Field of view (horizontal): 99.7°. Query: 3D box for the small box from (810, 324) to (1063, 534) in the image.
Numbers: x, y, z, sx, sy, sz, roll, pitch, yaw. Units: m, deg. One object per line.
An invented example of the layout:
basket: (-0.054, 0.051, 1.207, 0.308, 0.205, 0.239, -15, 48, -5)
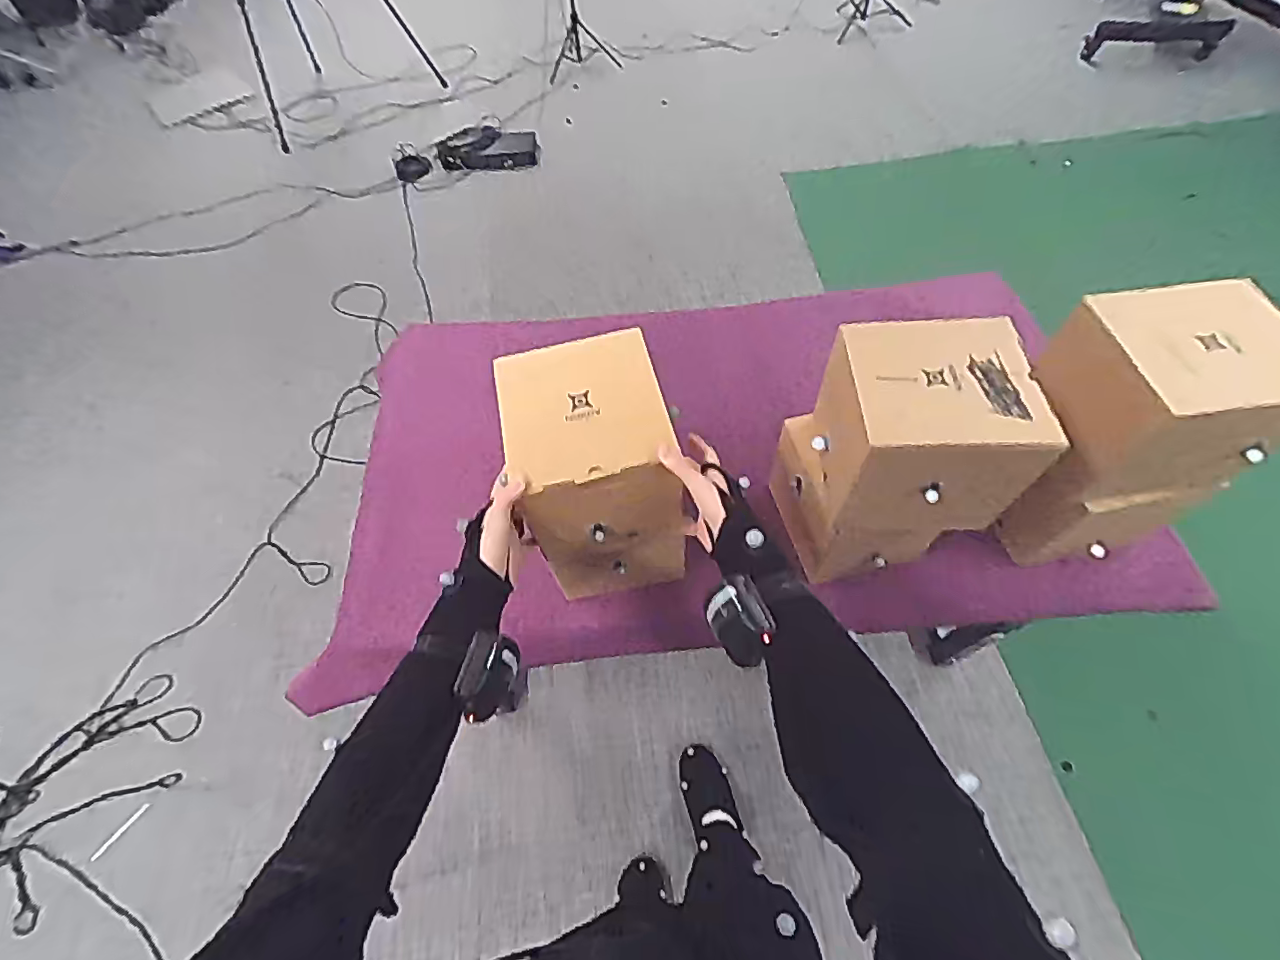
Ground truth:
small box: (0.300, -0.050, 0.595, 0.179, 0.176, 0.168, 0, 57, 5)

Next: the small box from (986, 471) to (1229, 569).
small box: (0.591, 0.003, 0.731, 0.179, 0.176, 0.168, -11, 57, -2)

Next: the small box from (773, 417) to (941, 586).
small box: (0.294, 0.022, 0.745, 0.168, 0.176, 0.179, -13, 57, -3)

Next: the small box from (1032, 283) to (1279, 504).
small box: (0.567, -0.088, 0.597, 0.179, 0.176, 0.168, -6, 58, 2)
